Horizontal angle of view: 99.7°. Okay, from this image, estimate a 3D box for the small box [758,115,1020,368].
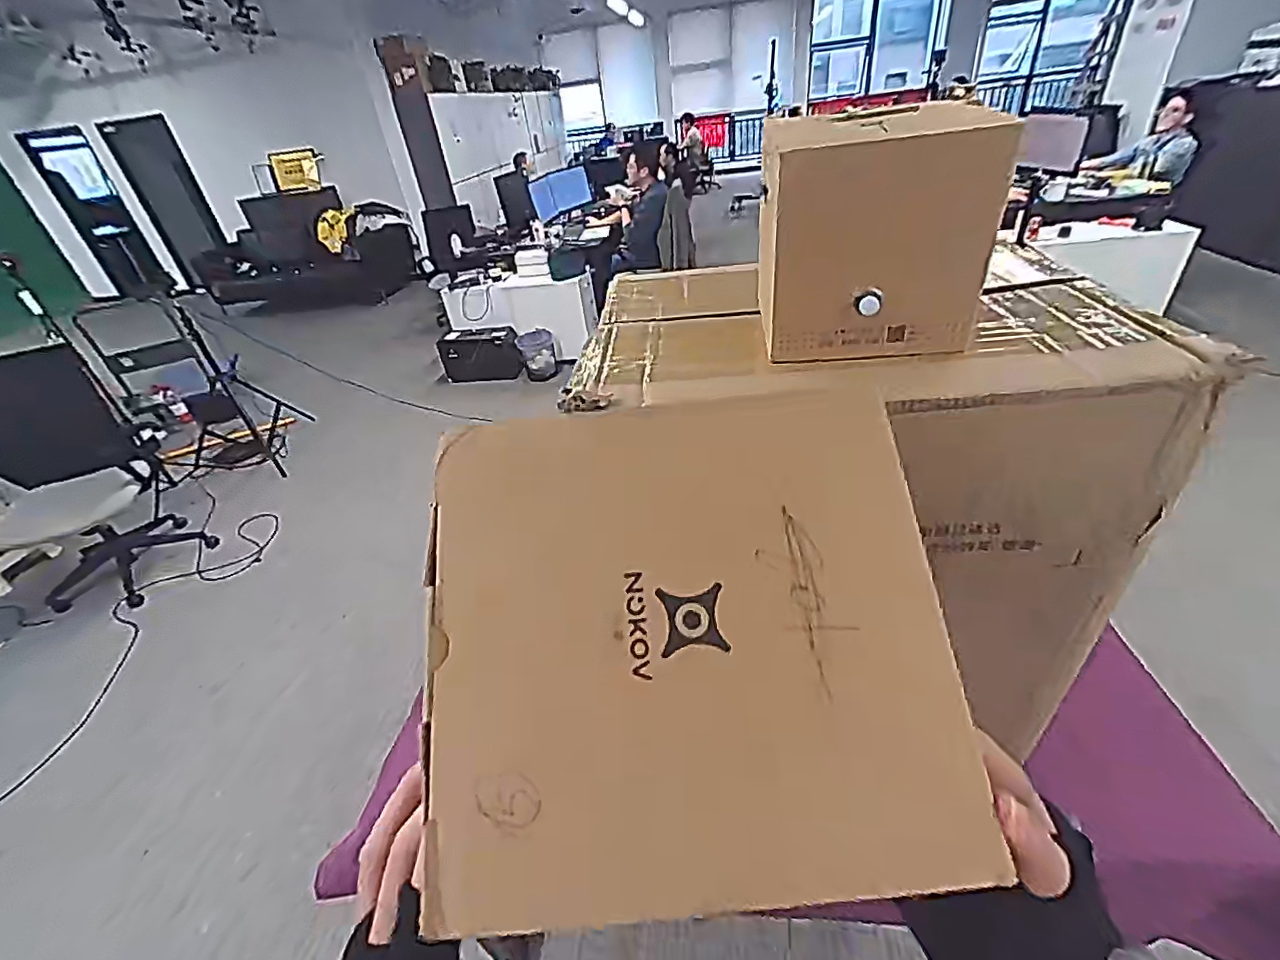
[{"bbox_3d":[0.195,-0.215,0.490,0.168,0.176,0.179,-2,38,9],"label":"small box"}]

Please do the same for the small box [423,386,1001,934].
[{"bbox_3d":[0.017,0.075,0.260,0.179,0.176,0.168,-7,72,0],"label":"small box"}]
